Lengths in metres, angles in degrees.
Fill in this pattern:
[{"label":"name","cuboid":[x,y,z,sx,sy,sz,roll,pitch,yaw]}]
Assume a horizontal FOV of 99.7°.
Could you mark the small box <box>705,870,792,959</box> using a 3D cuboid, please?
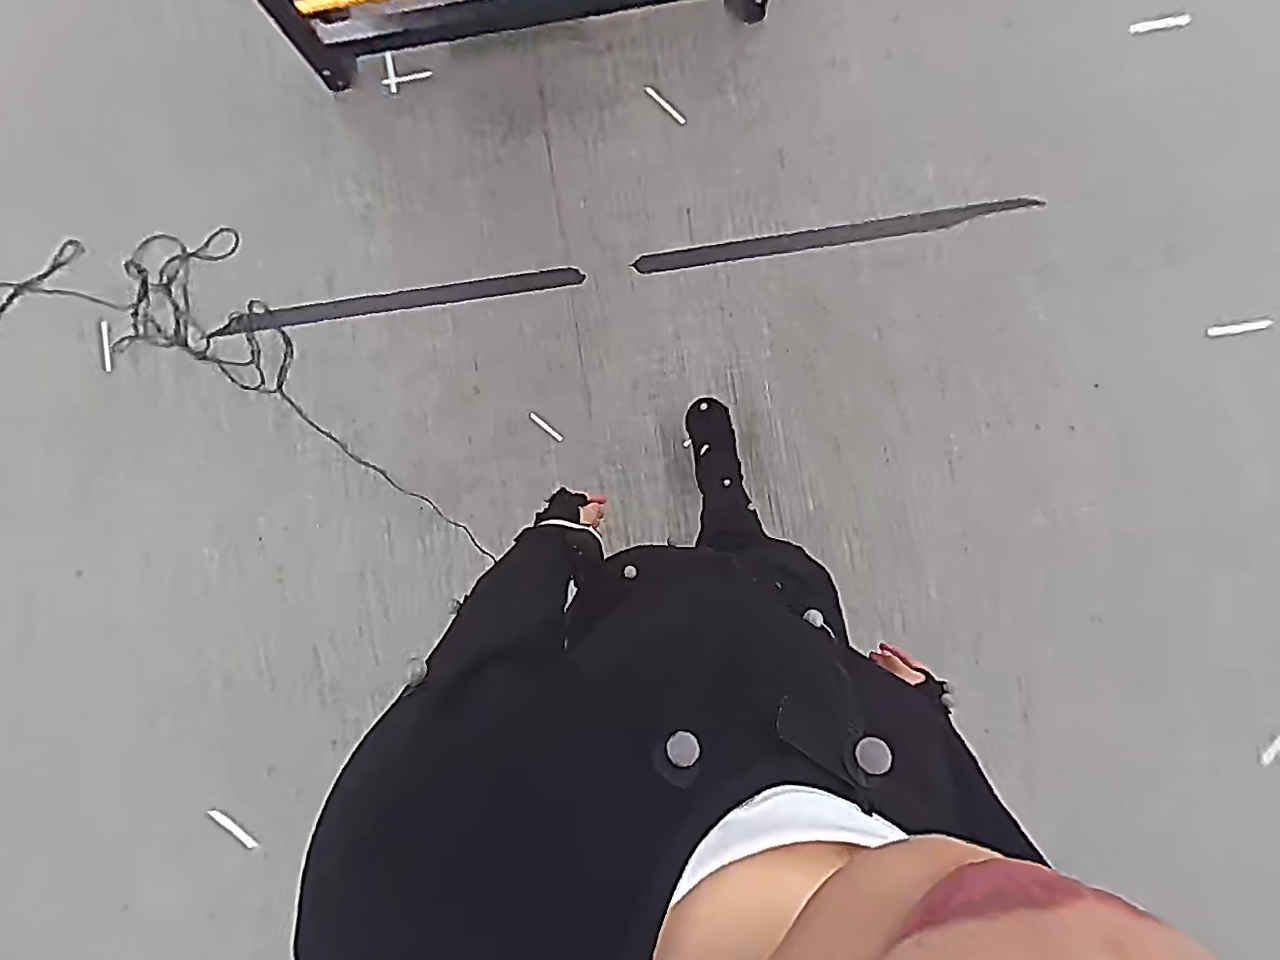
[{"label":"small box","cuboid":[0.251,1.059,1.268,0.179,0.176,0.168,-8,87,1]}]
